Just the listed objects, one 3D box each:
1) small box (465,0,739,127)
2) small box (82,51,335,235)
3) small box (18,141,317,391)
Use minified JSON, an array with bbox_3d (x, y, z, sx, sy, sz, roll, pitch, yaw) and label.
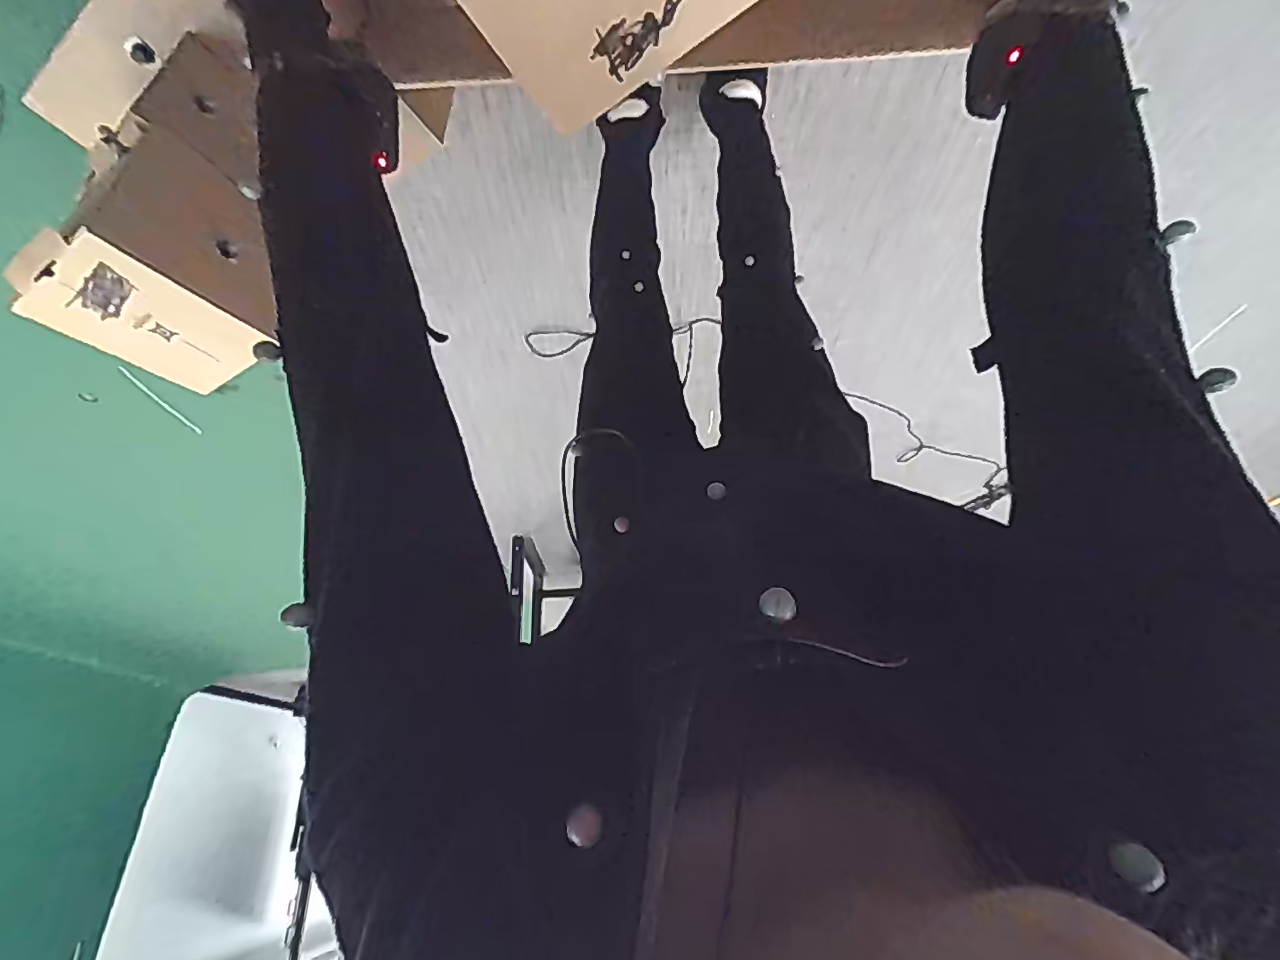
[{"bbox_3d":[-0.030,-0.340,0.270,0.168,0.176,0.179,-19,147,26],"label":"small box"},{"bbox_3d":[-0.522,-0.383,0.675,0.168,0.176,0.179,-21,147,28],"label":"small box"},{"bbox_3d":[-0.506,-0.236,0.604,0.168,0.176,0.179,-18,149,24],"label":"small box"}]
